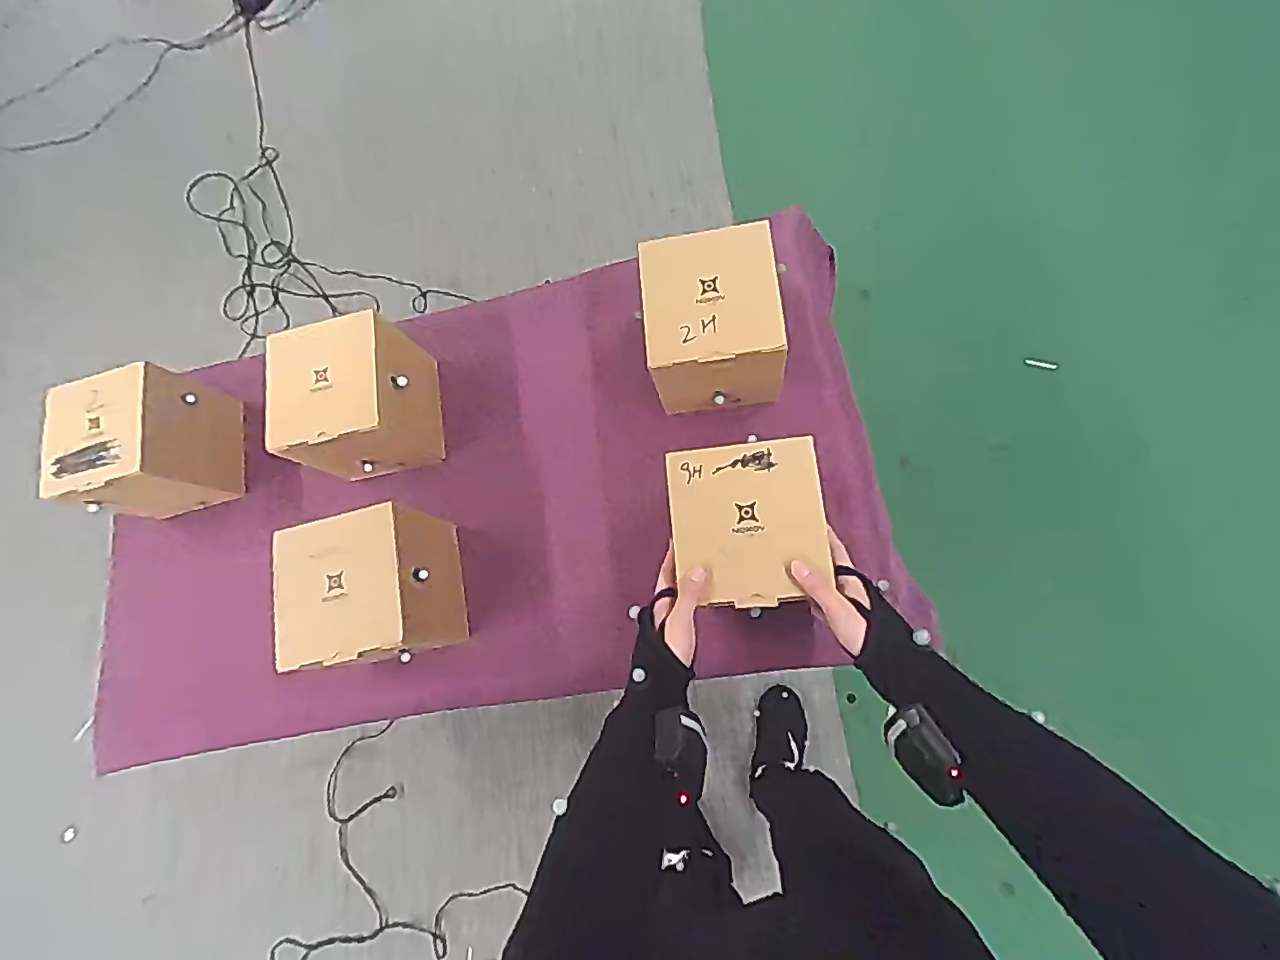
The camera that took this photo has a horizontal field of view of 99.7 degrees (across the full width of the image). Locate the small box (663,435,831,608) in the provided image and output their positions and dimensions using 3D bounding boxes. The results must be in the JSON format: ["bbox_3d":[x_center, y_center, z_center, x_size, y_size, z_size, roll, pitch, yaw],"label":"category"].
[{"bbox_3d":[0.126,0.058,0.655,0.168,0.176,0.179,-6,77,9],"label":"small box"}]

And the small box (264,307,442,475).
[{"bbox_3d":[-0.412,-0.120,0.797,0.168,0.176,0.179,-11,77,7],"label":"small box"}]

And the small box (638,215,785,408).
[{"bbox_3d":[0.095,-0.212,0.722,0.168,0.176,0.179,-6,77,10],"label":"small box"}]

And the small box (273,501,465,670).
[{"bbox_3d":[-0.352,0.143,0.726,0.168,0.176,0.179,-14,74,6],"label":"small box"}]
